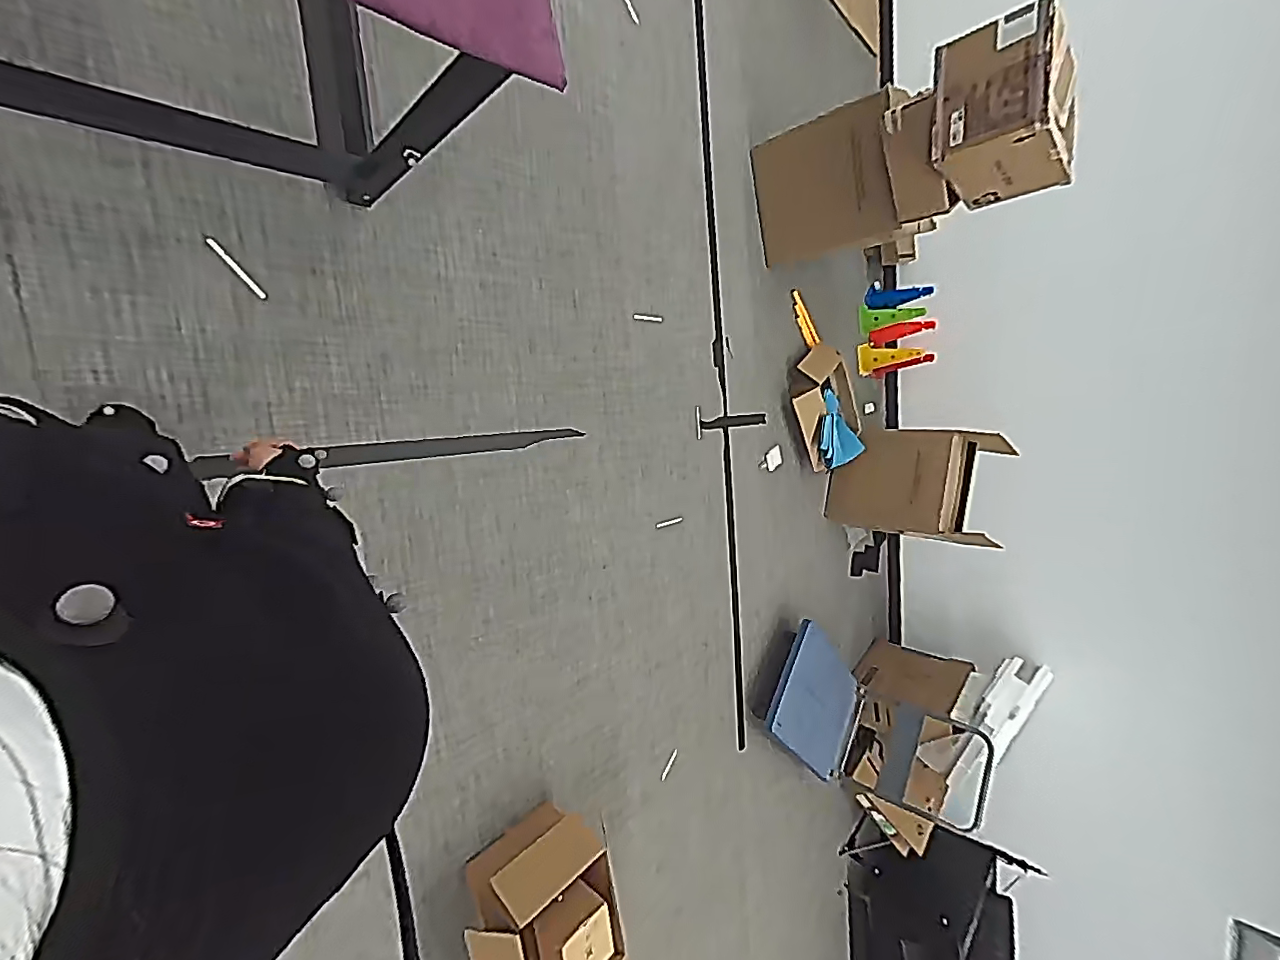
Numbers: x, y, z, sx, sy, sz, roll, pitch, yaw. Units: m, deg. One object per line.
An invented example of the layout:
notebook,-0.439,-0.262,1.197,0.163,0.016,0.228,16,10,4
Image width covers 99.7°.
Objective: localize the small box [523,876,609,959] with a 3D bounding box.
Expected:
small box,-0.211,1.292,1.539,0.168,0.176,0.179,-16,103,-45
